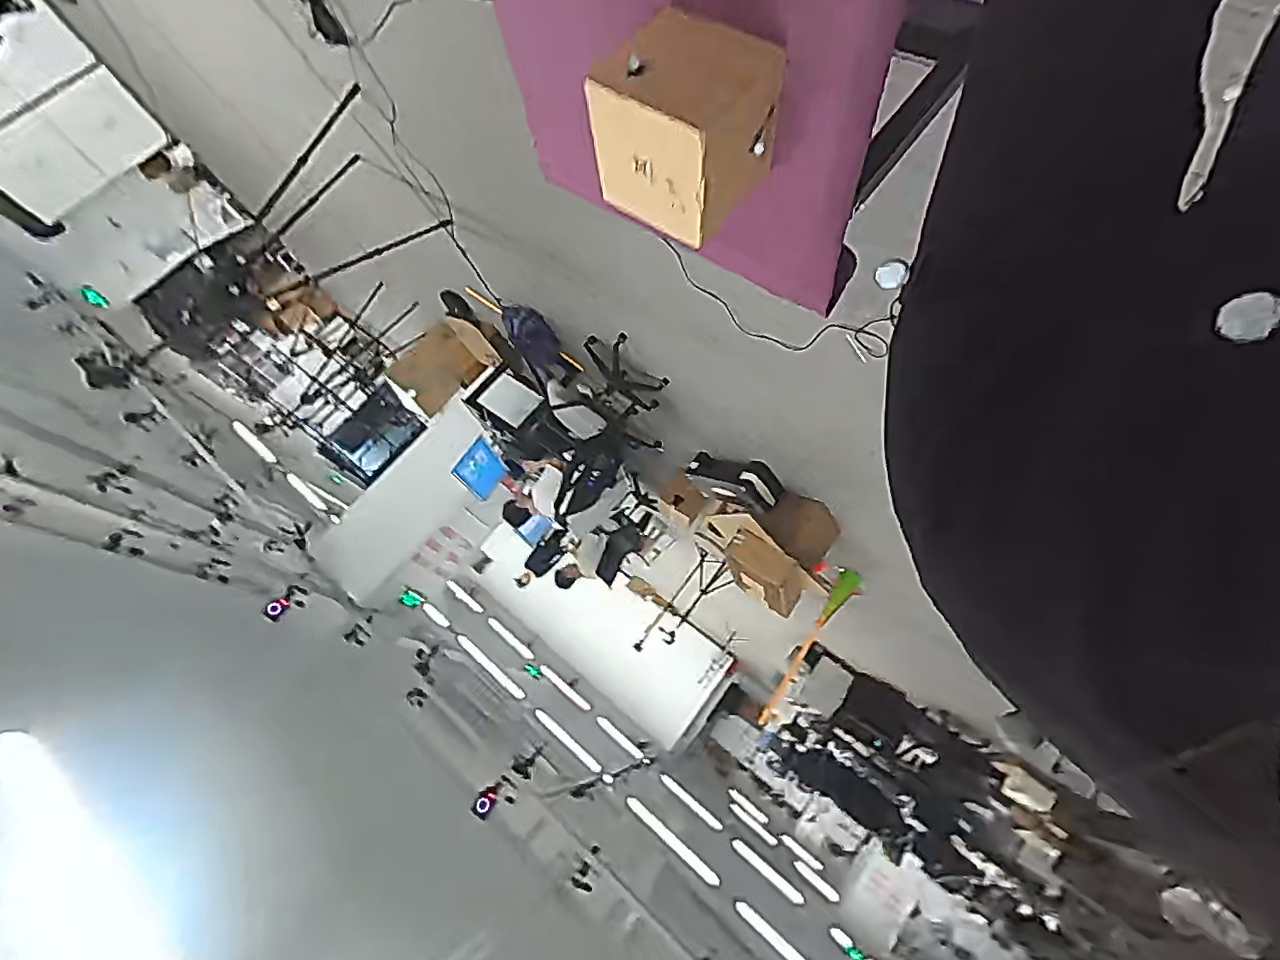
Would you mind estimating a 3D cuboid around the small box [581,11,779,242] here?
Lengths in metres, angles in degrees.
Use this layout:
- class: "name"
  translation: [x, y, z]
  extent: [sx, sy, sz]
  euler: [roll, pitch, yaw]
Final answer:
- class: "small box"
  translation: [0.052, -0.459, 0.704]
  extent: [0.179, 0.176, 0.168]
  euler: [35, 165, 16]
